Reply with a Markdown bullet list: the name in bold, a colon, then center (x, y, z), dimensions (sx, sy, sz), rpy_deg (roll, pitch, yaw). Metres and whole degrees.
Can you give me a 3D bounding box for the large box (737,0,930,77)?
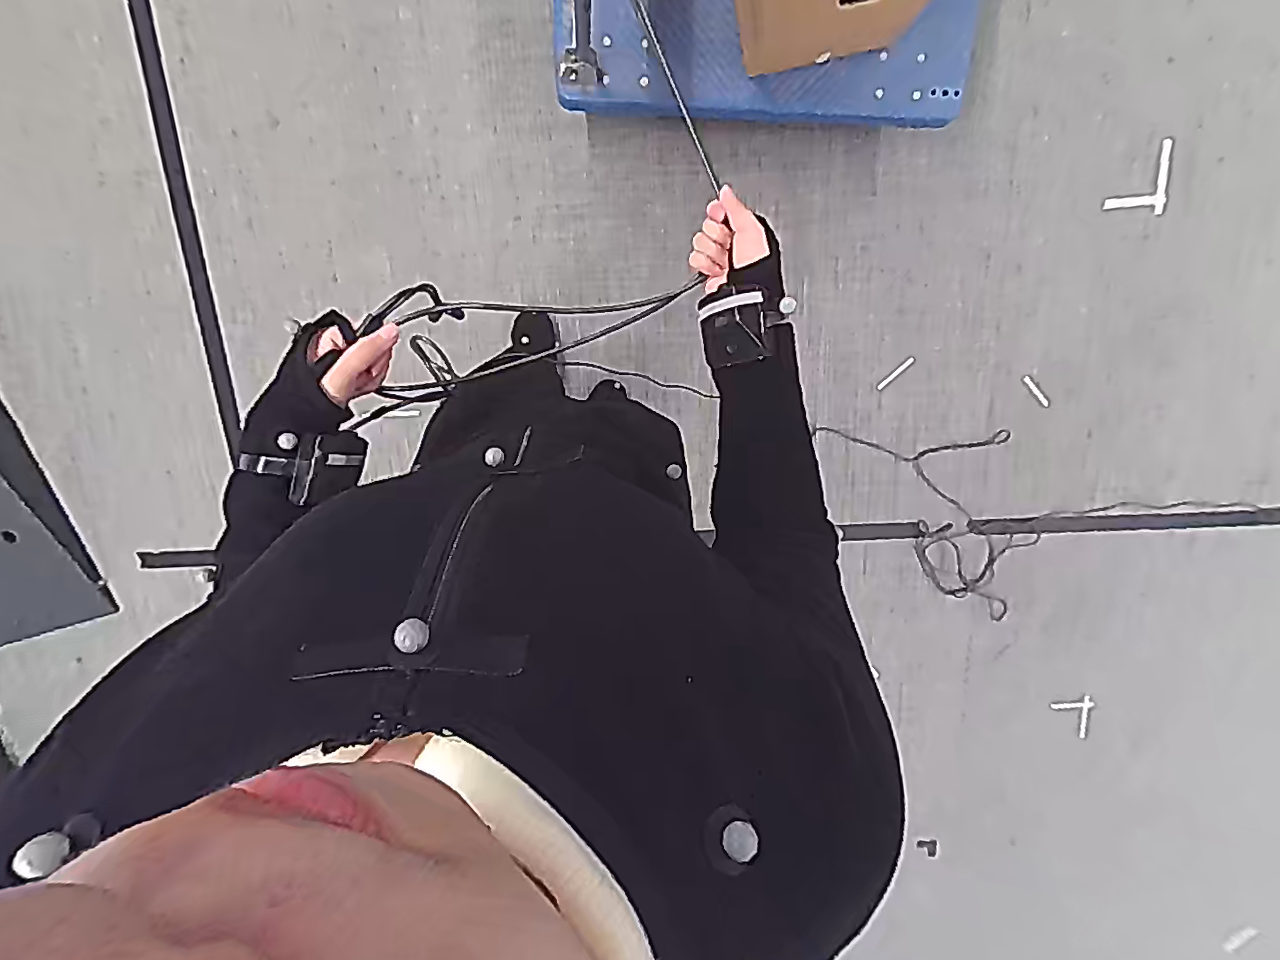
- **large box**: center (0.335, -1.022, 0.934), dimensions (0.320, 0.320, 0.408), rpy_deg (-12, 104, 2)
